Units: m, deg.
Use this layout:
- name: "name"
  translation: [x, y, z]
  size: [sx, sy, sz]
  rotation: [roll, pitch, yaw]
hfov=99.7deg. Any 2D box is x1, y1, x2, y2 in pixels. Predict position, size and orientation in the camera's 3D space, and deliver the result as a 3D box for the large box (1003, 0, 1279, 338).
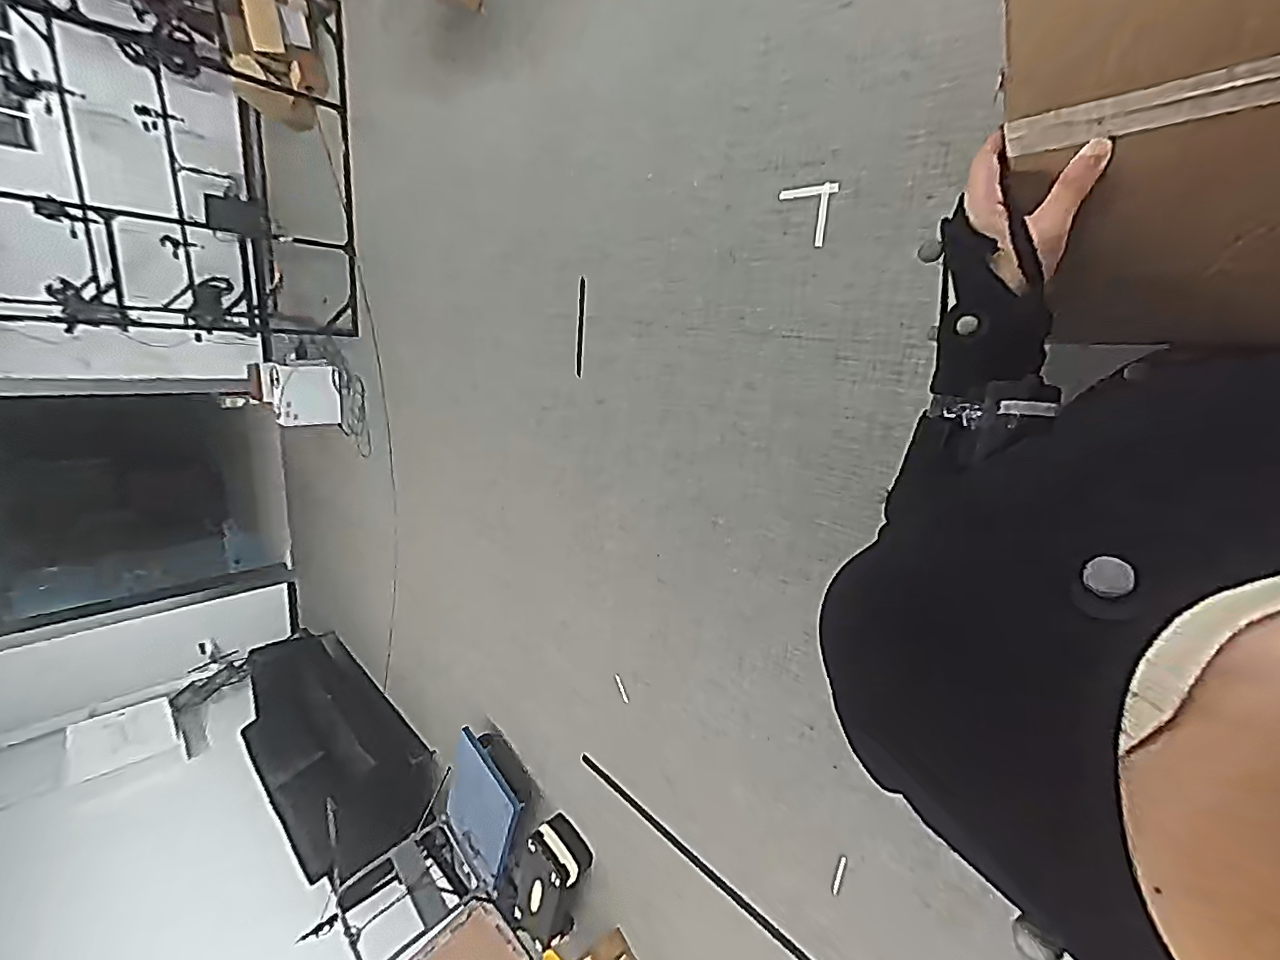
- name: "large box"
  translation: [0.468, -0.295, 0.274]
  size: [0.408, 0.320, 0.320]
  rotation: [14, 145, 47]
